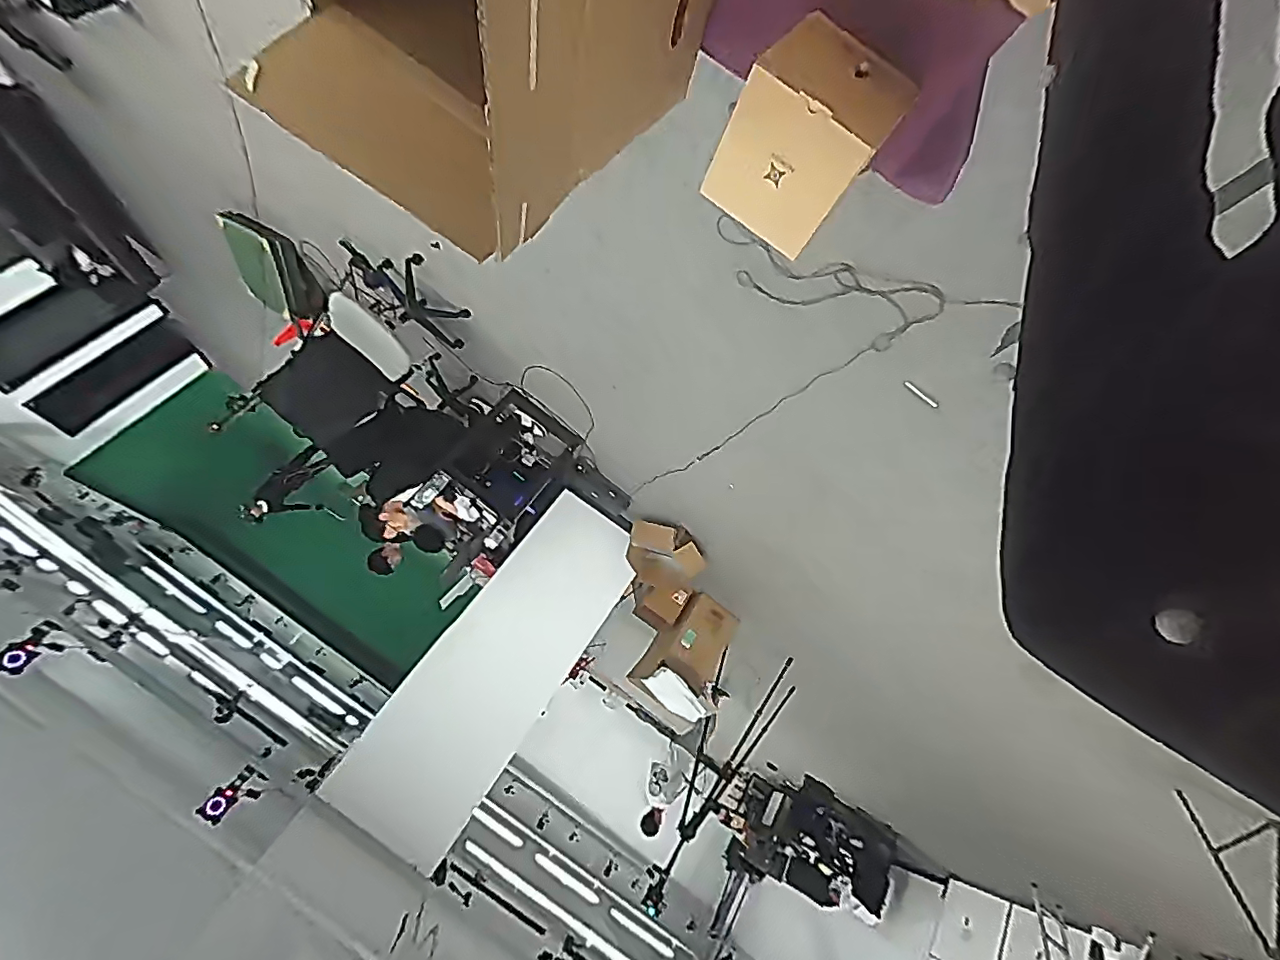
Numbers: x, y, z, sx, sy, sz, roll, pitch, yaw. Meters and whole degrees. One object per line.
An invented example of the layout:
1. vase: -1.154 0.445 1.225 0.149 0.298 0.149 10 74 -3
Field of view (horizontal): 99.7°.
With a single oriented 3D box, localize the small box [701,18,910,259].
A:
1. small box: 0.213 -0.440 0.705 0.168 0.176 0.179 36 153 1
